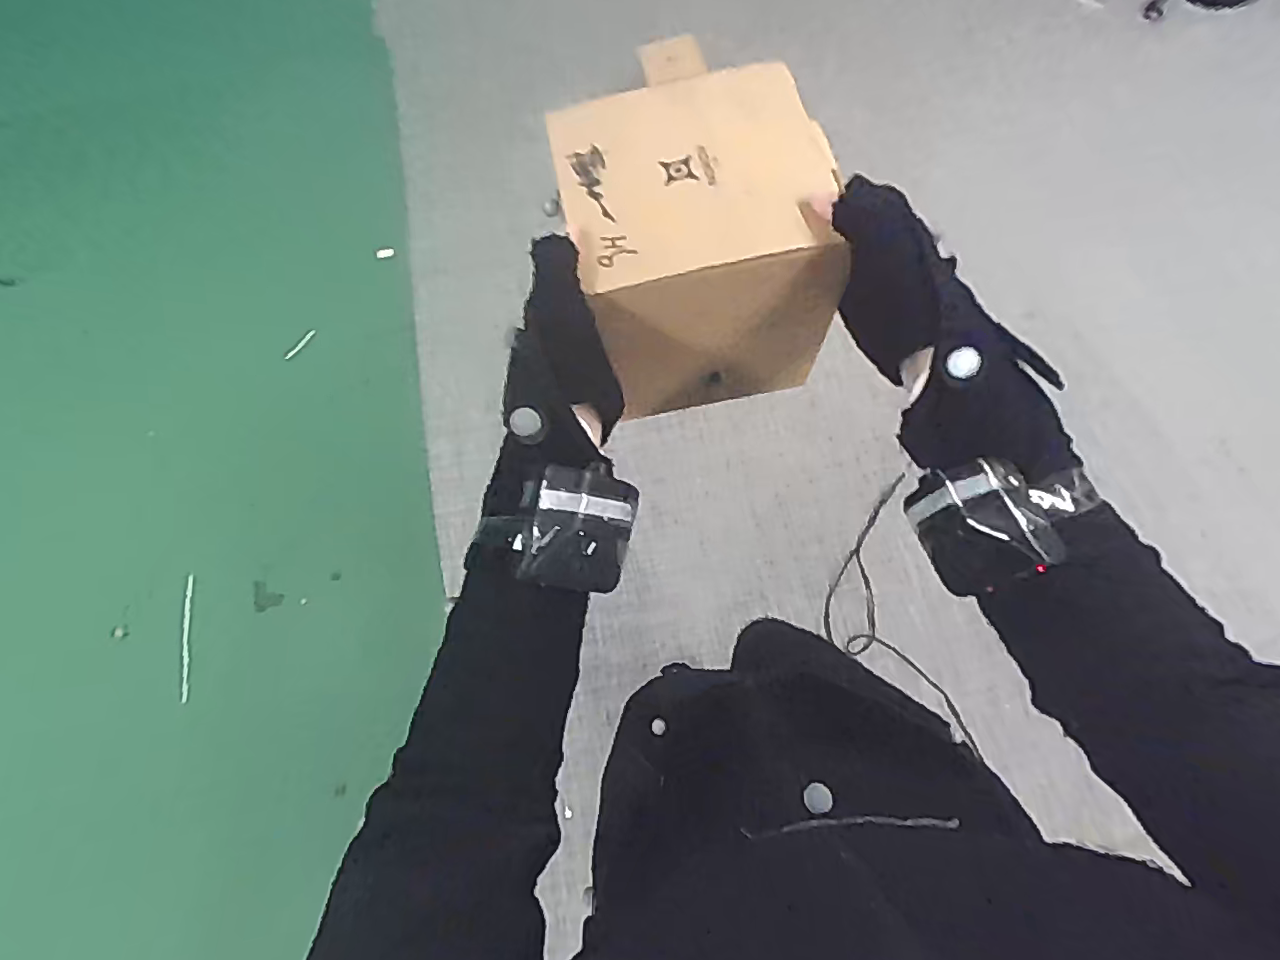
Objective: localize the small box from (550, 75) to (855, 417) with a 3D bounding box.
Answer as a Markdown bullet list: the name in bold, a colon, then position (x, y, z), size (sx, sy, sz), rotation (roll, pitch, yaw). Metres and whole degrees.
- **small box**: position (0.038, -0.170, 0.430), size (0.179, 0.176, 0.168), rotation (-11, 67, 0)

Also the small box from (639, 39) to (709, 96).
- **small box**: position (0.104, -1.195, 1.662), size (0.179, 0.176, 0.168), rotation (-15, 72, 2)
